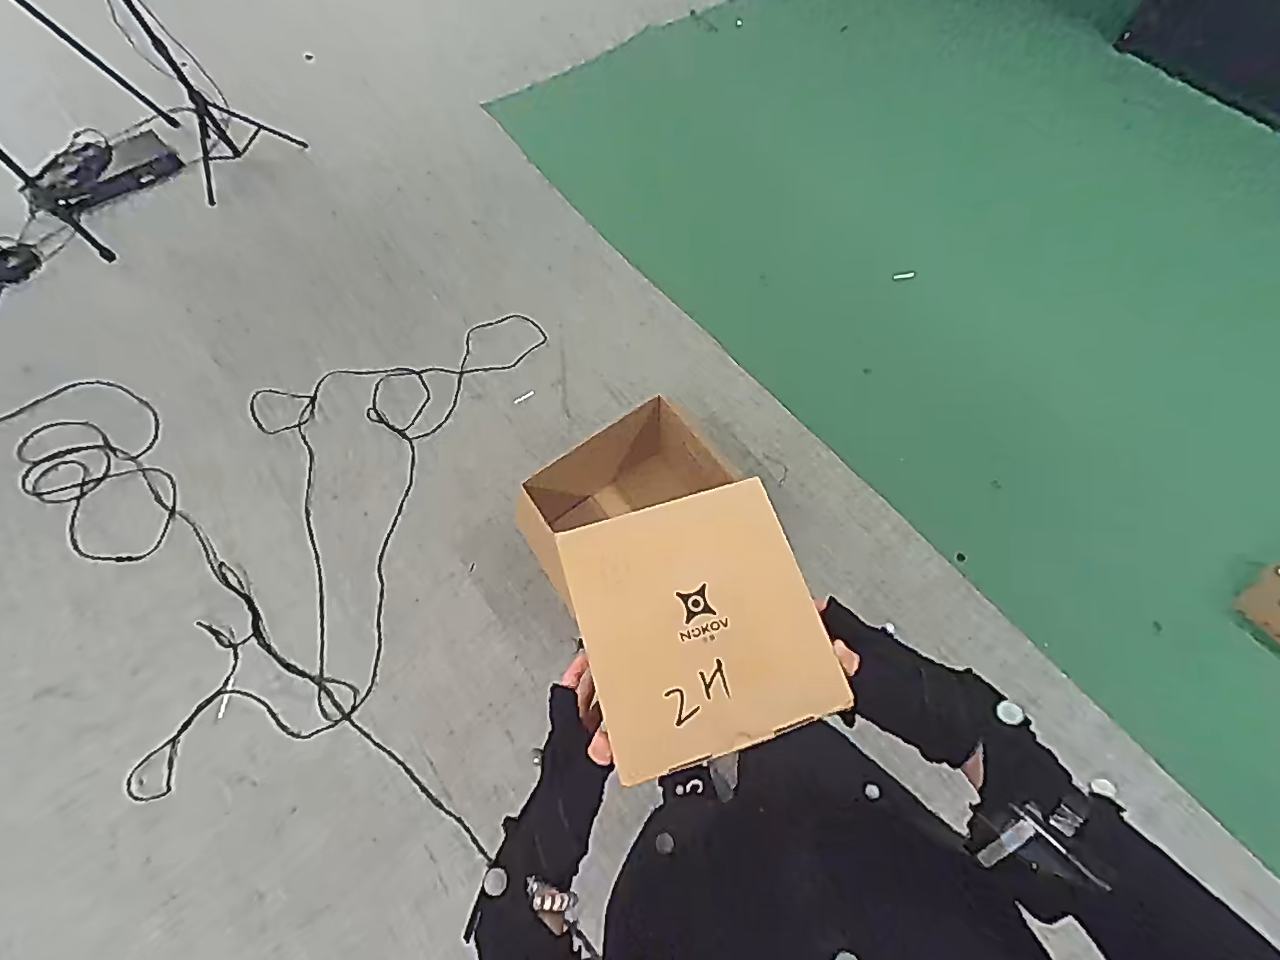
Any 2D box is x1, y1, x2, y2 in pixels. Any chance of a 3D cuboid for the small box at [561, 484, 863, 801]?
[{"bbox_3d":[0.040,0.128,0.440,0.168,0.176,0.179,-16,70,-8],"label":"small box"}]
